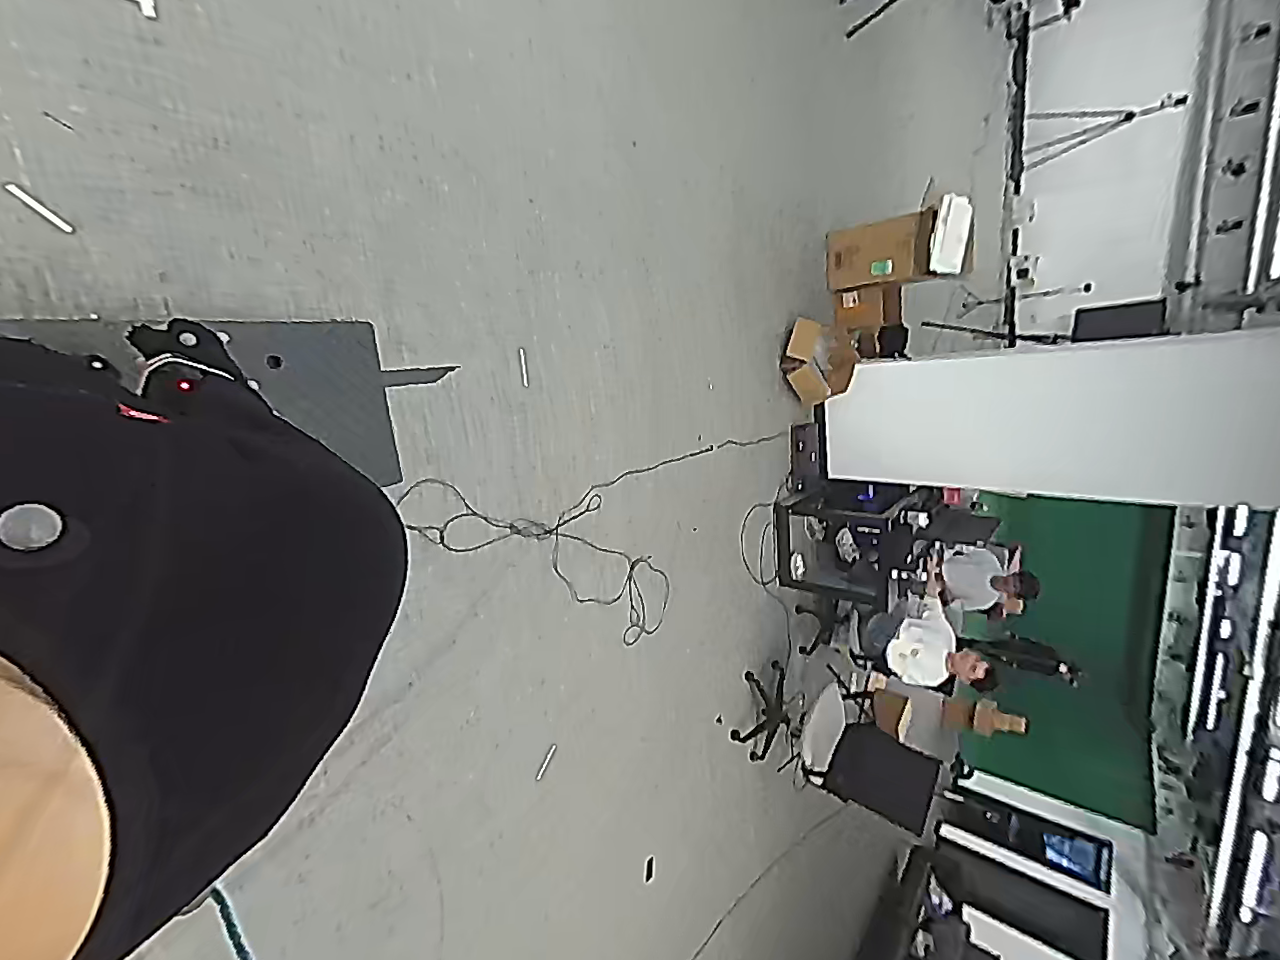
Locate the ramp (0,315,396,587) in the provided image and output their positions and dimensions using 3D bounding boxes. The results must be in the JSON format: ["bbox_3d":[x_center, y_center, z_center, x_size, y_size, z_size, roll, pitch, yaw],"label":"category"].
[{"bbox_3d":[-1.043,-0.120,1.223,0.991,0.206,0.509,-22,109,-46],"label":"ramp"}]
